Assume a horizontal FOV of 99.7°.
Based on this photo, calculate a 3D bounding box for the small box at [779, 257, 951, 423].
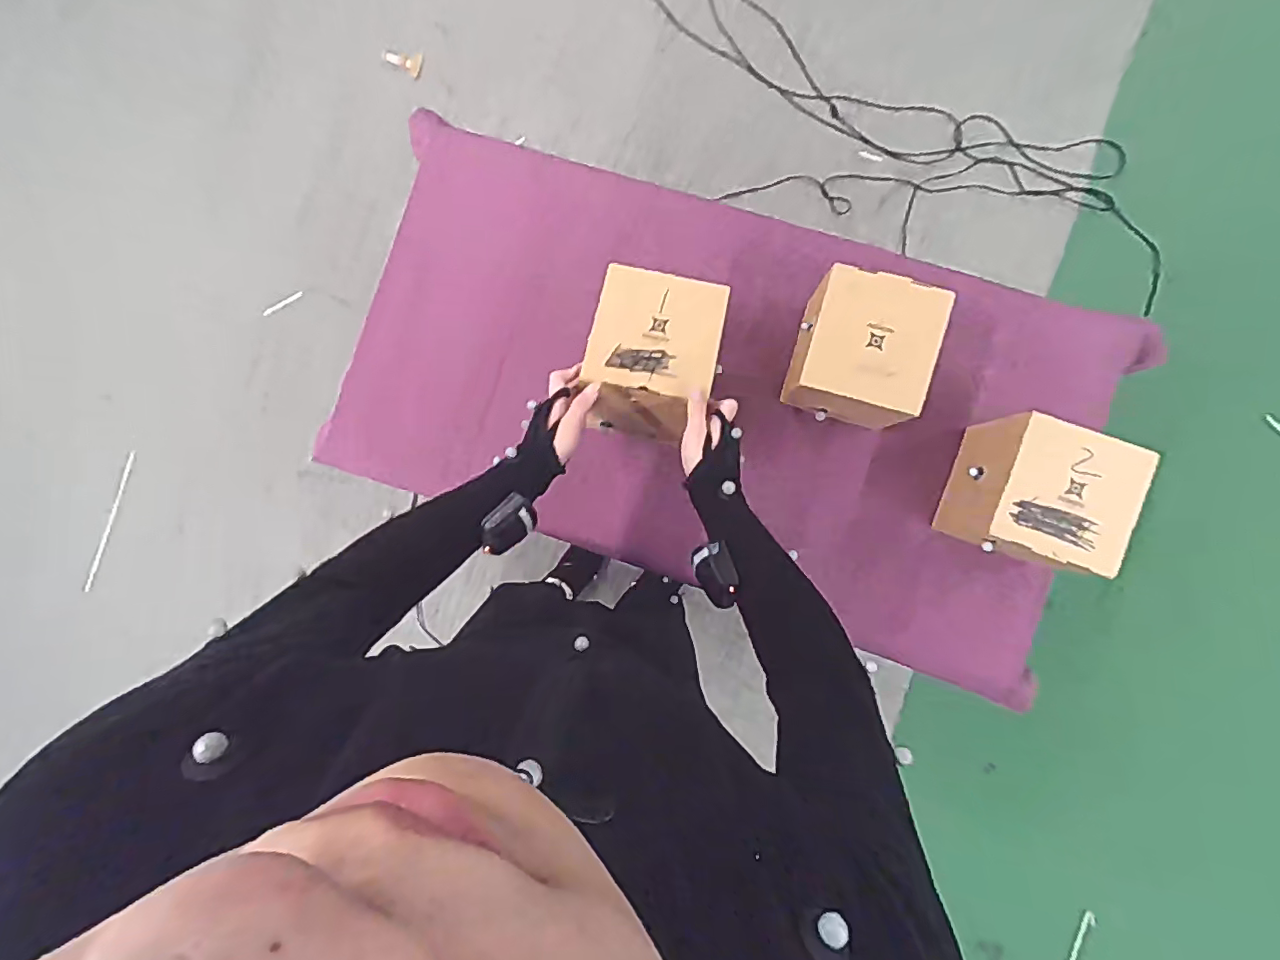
[{"bbox_3d":[0.320,-0.196,0.807,0.168,0.176,0.179,17,91,5],"label":"small box"}]

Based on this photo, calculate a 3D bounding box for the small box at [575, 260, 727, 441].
[{"bbox_3d":[0.014,-0.170,0.761,0.168,0.176,0.179,12,75,1],"label":"small box"}]
